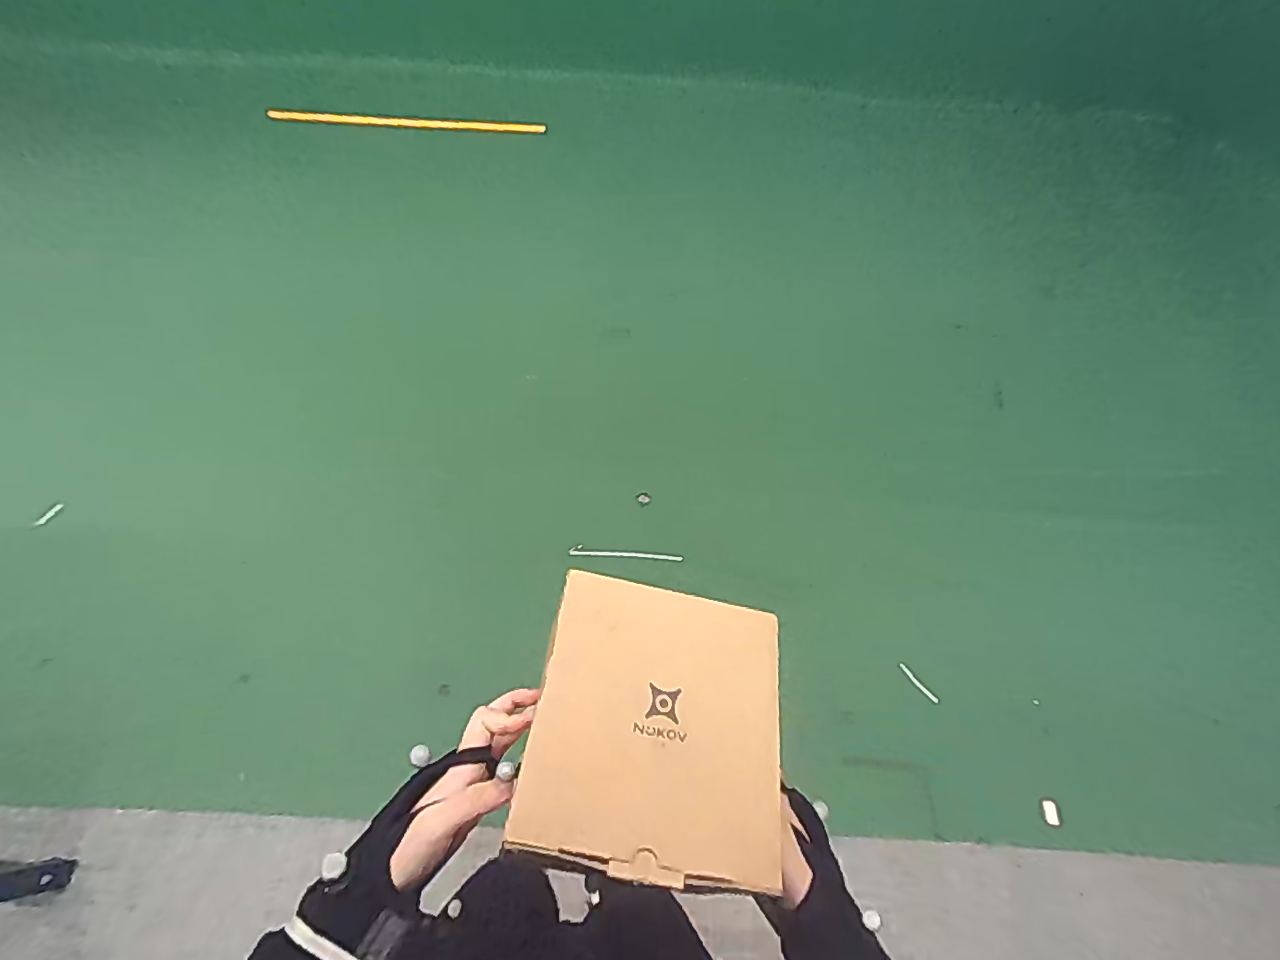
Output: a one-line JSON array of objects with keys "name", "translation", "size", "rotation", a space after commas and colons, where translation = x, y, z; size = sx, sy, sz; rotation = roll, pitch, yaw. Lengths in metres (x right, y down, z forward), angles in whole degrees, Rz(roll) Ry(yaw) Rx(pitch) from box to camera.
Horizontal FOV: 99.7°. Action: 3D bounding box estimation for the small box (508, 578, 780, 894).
[{"name": "small box", "translation": [-0.004, 0.206, 0.427], "size": [0.168, 0.176, 0.179], "rotation": [13, 52, -6]}]
